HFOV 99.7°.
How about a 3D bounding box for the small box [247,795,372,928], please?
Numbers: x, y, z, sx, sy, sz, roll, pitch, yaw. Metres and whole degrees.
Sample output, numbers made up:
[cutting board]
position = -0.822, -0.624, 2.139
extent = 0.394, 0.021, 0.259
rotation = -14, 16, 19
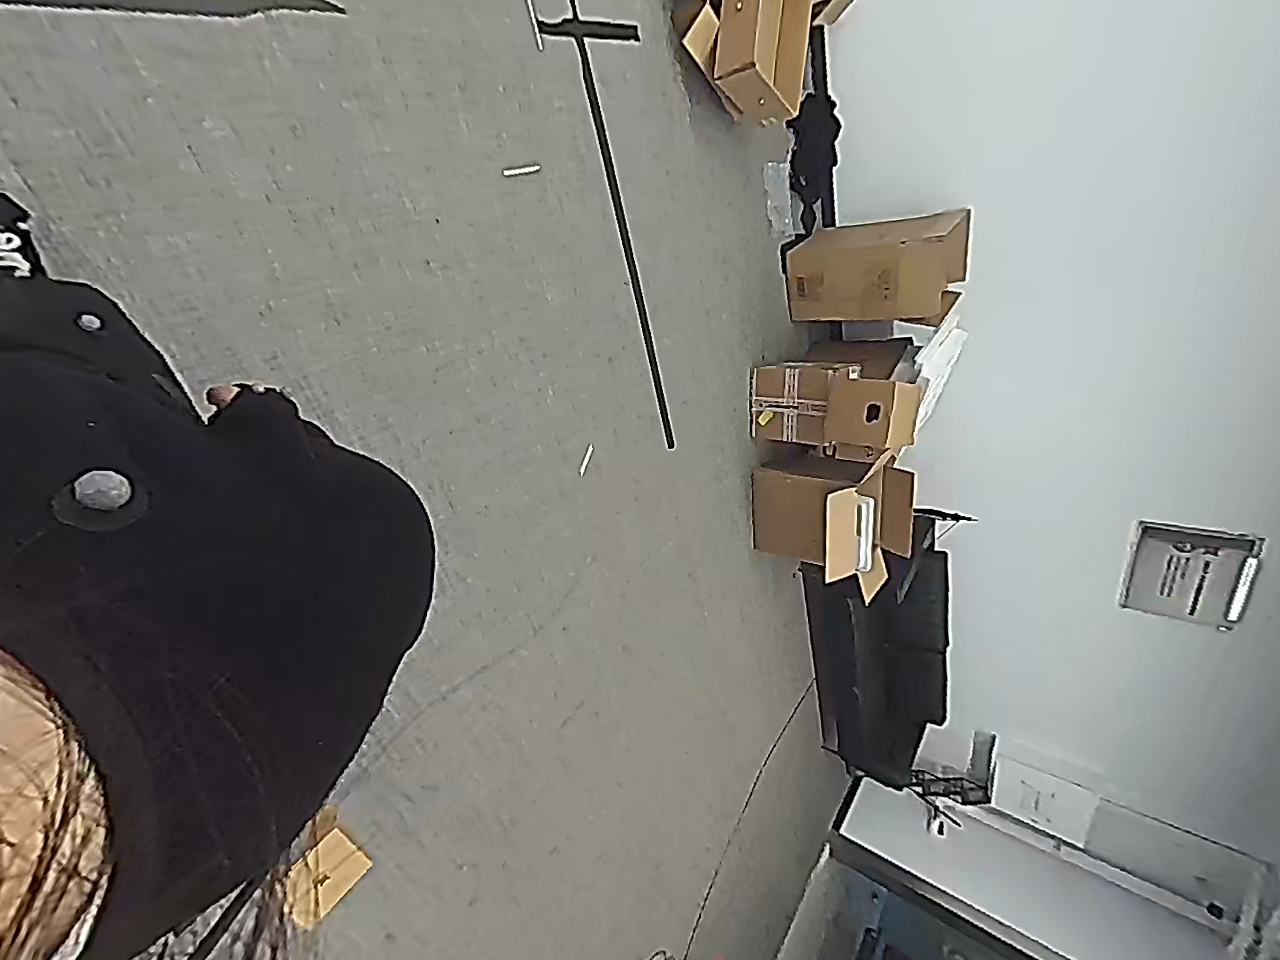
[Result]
[small box]
position = -0.783, 0.887, 1.278
extent = 0.168, 0.176, 0.179
rotation = -41, 128, -36
